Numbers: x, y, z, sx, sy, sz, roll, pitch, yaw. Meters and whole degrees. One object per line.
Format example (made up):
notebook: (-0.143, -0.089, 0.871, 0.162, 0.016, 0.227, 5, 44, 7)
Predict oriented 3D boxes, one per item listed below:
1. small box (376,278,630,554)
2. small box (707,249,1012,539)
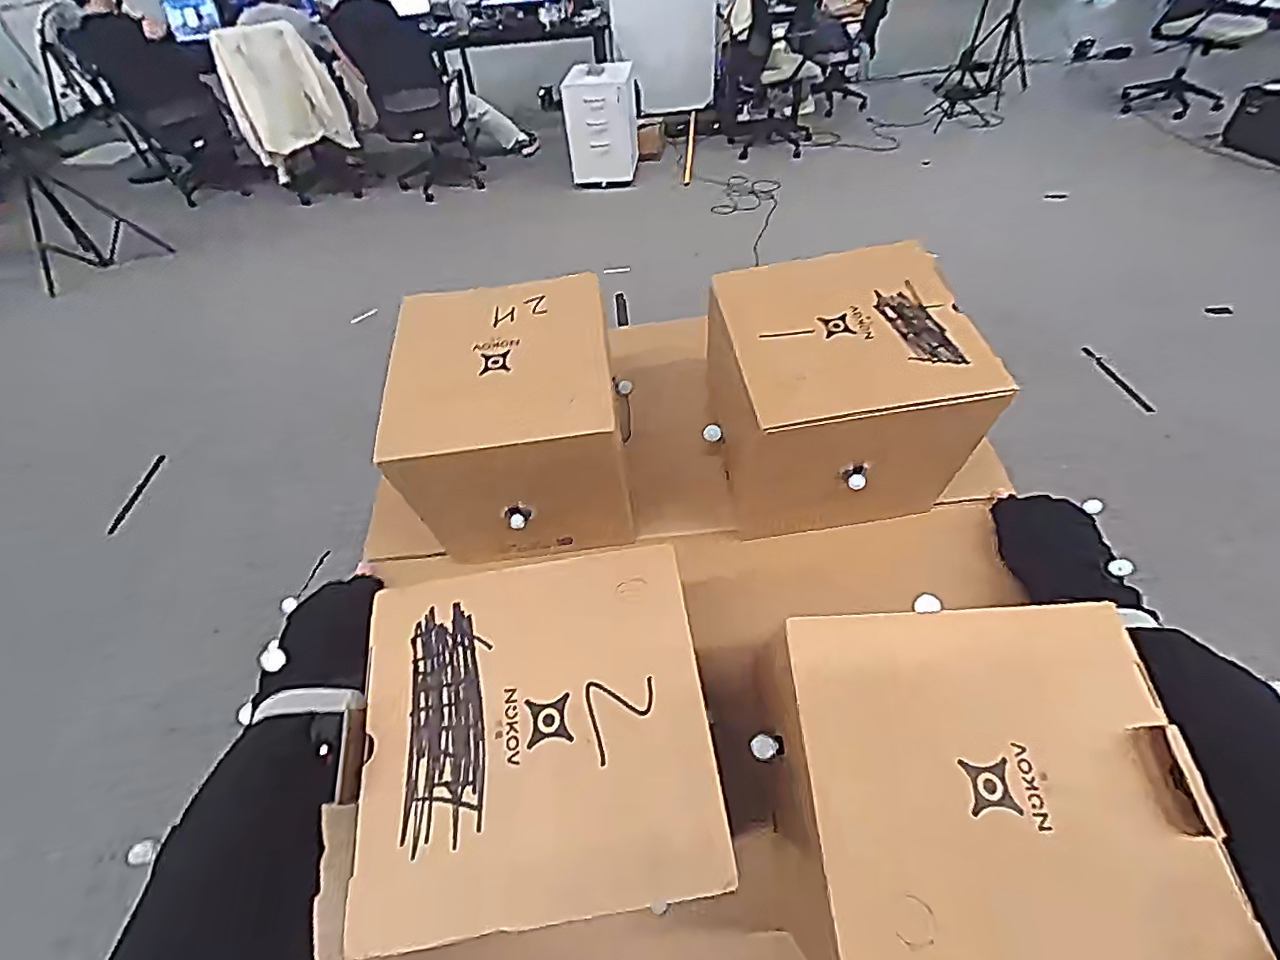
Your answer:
small box: (-0.101, -0.045, 0.476, 0.168, 0.176, 0.179, -7, 57, 0)
small box: (0.158, -0.065, 0.465, 0.179, 0.176, 0.168, -9, 57, 1)
